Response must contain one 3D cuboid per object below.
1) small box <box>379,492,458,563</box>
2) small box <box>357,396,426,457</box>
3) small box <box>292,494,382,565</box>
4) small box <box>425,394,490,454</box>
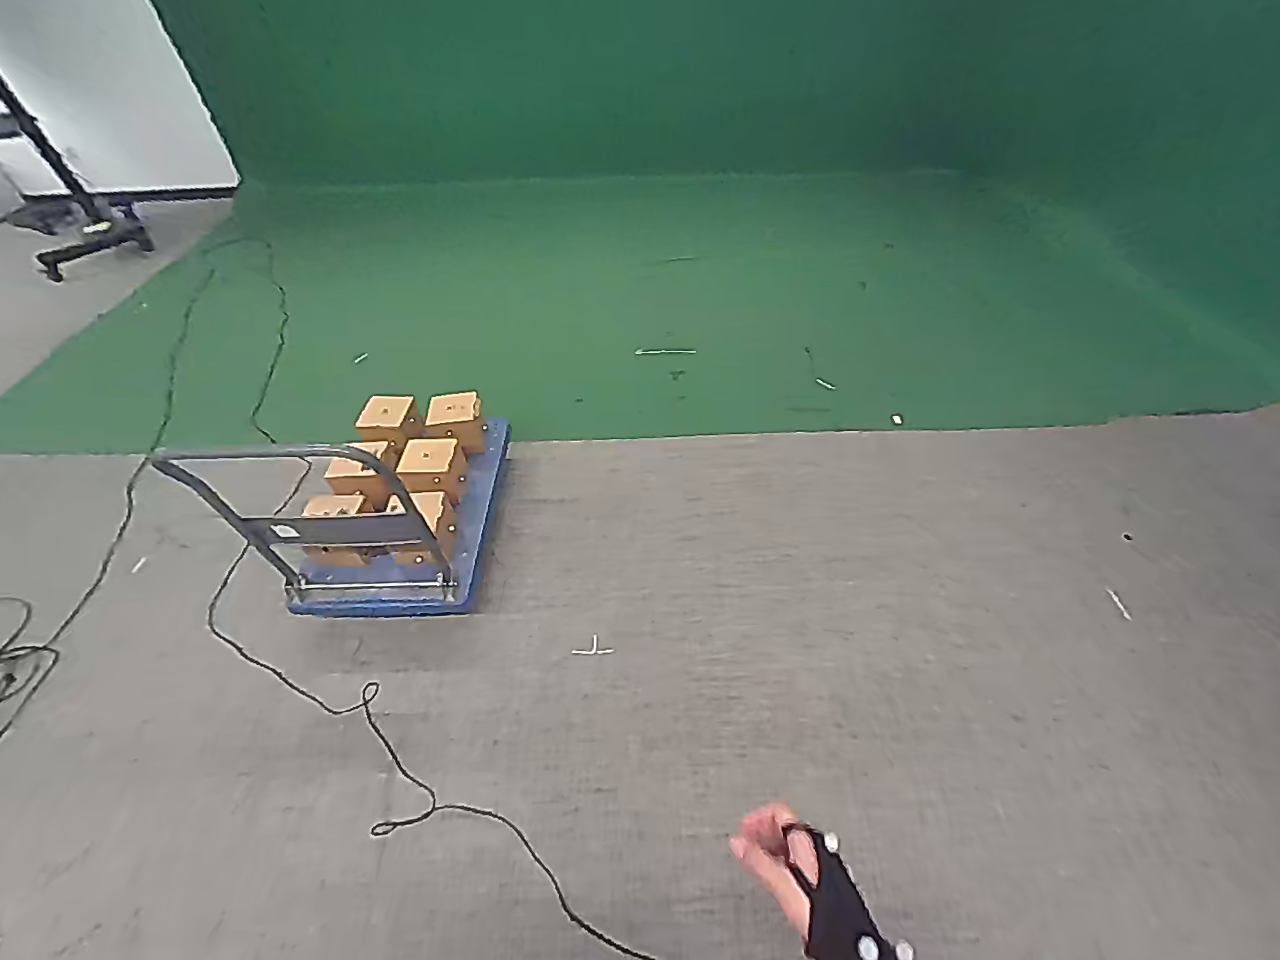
[{"bbox_3d":[-0.705,0.156,1.746,0.179,0.176,0.168,-2,48,-1],"label":"small box"},{"bbox_3d":[-0.948,-0.205,2.085,0.168,0.176,0.179,2,48,2],"label":"small box"},{"bbox_3d":[-0.968,0.161,1.750,0.179,0.176,0.168,0,47,3],"label":"small box"},{"bbox_3d":[-0.695,-0.213,2.079,0.179,0.176,0.168,0,51,0],"label":"small box"}]
